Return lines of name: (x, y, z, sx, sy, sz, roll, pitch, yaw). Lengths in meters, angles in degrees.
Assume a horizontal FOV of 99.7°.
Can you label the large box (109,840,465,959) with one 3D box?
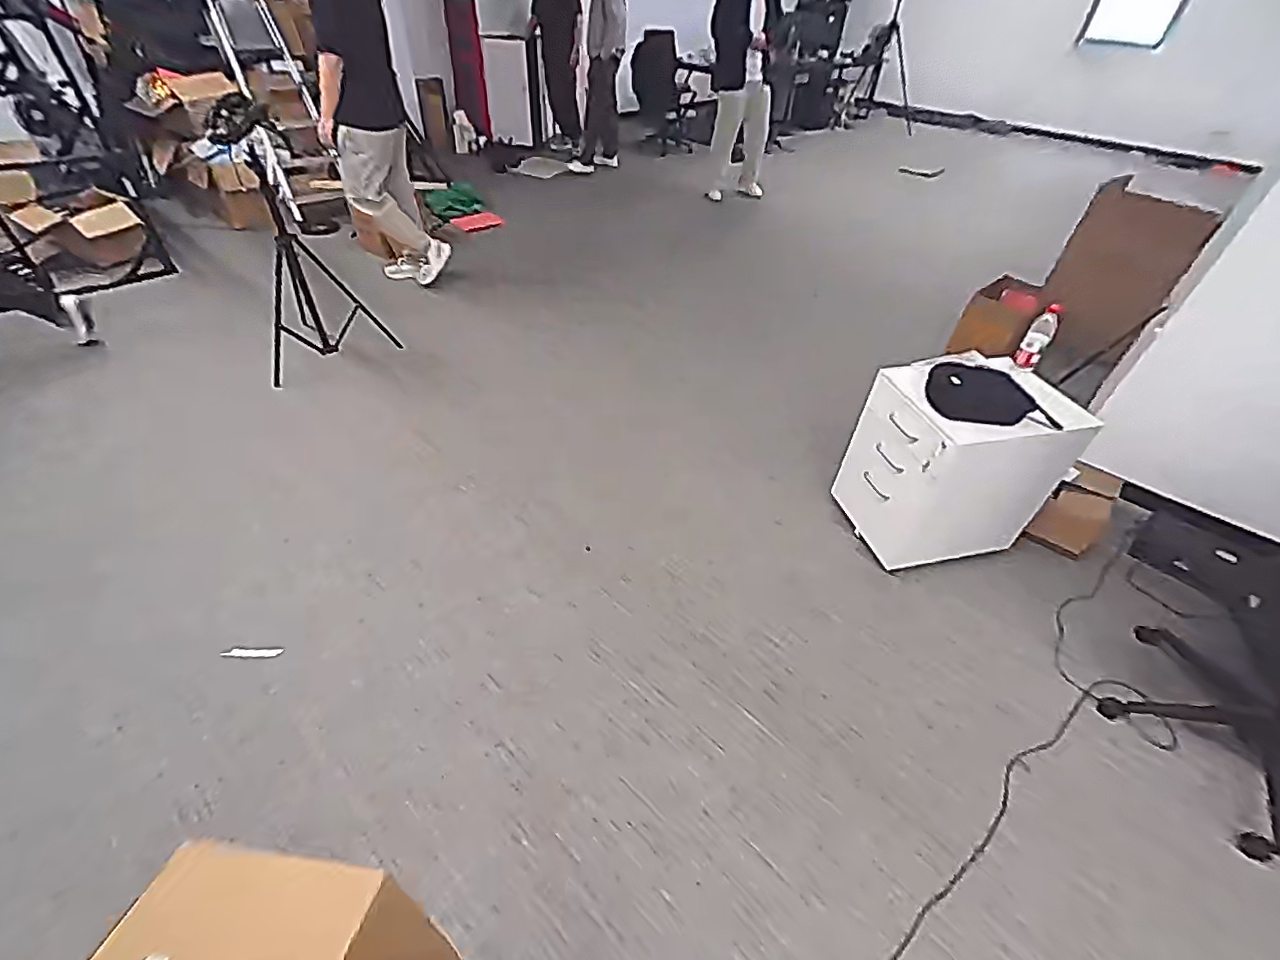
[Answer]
large box: (-0.437, 0.718, 0.658, 0.320, 0.408, 0.320, 2, 32, 16)
